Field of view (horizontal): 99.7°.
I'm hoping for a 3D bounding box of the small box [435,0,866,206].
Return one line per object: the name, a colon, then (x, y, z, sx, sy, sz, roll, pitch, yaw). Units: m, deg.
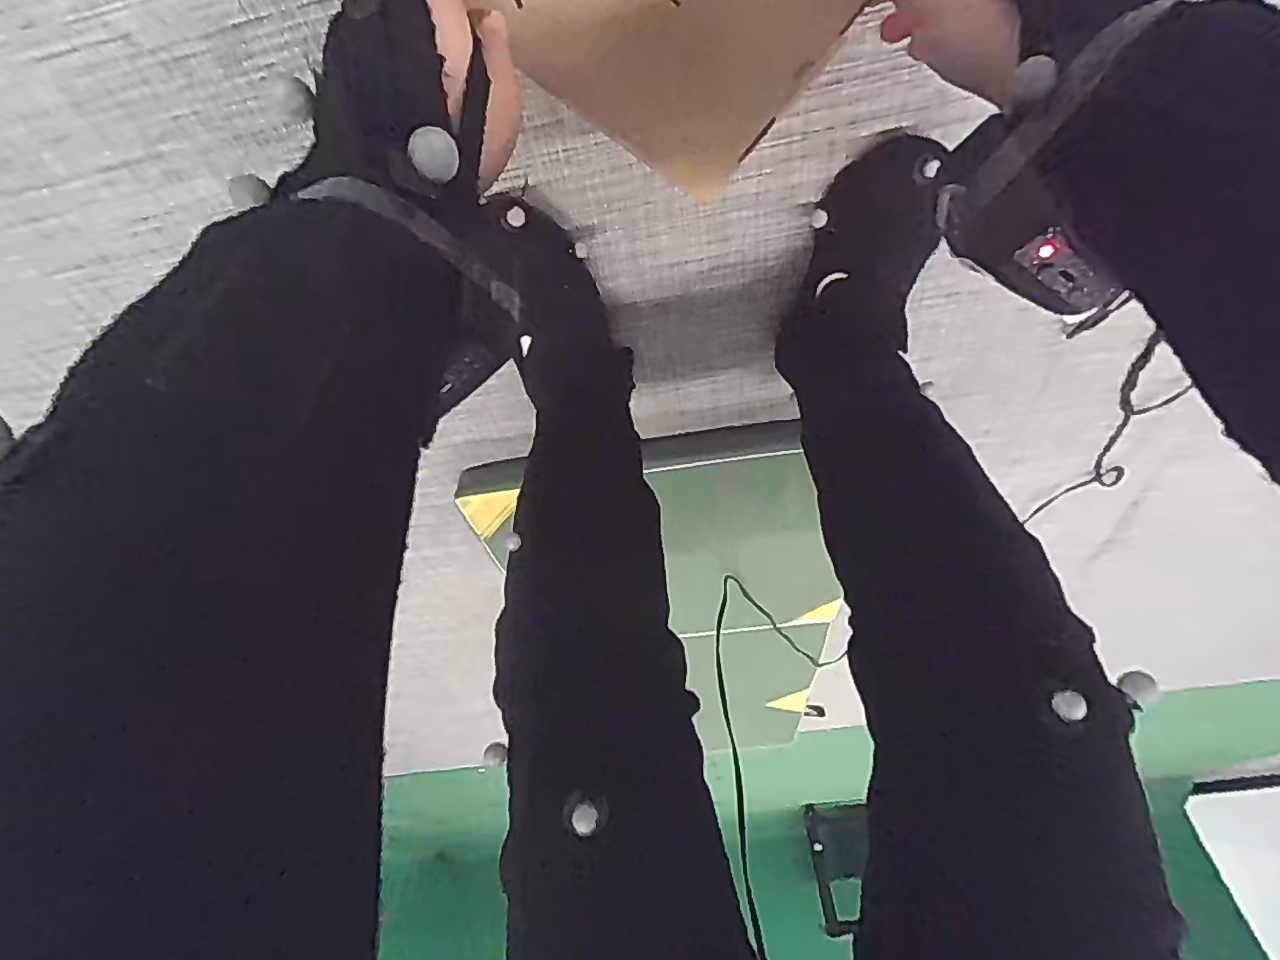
small box: (0.011, -0.307, 0.305, 0.179, 0.176, 0.168, 22, 135, -29)
